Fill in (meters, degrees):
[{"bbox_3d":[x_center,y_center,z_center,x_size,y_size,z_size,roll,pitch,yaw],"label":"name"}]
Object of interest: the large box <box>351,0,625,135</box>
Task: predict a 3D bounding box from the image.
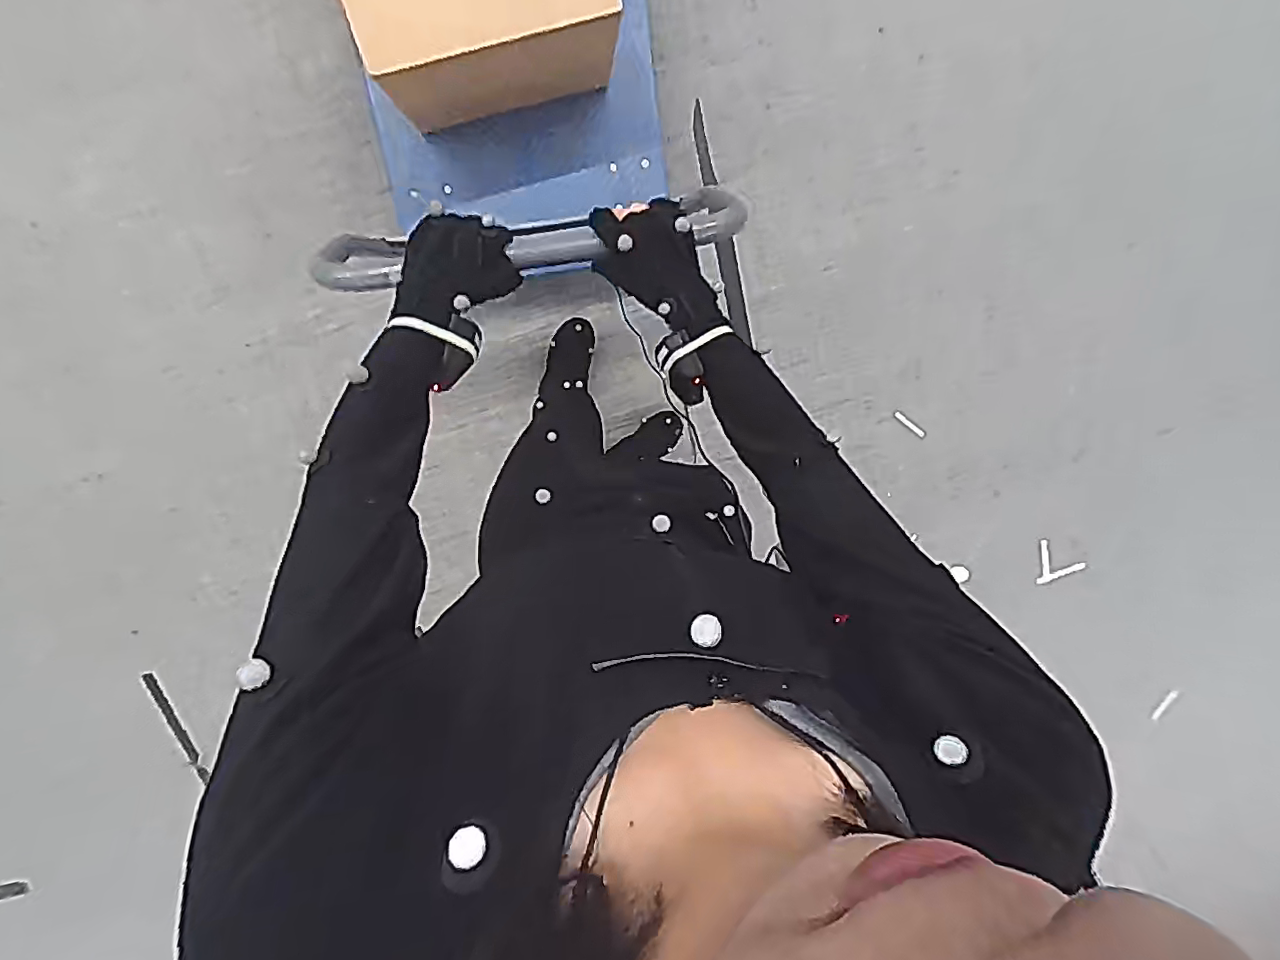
[{"bbox_3d":[-0.272,-0.854,0.922,0.408,0.320,0.320,-17,109,-3],"label":"large box"}]
